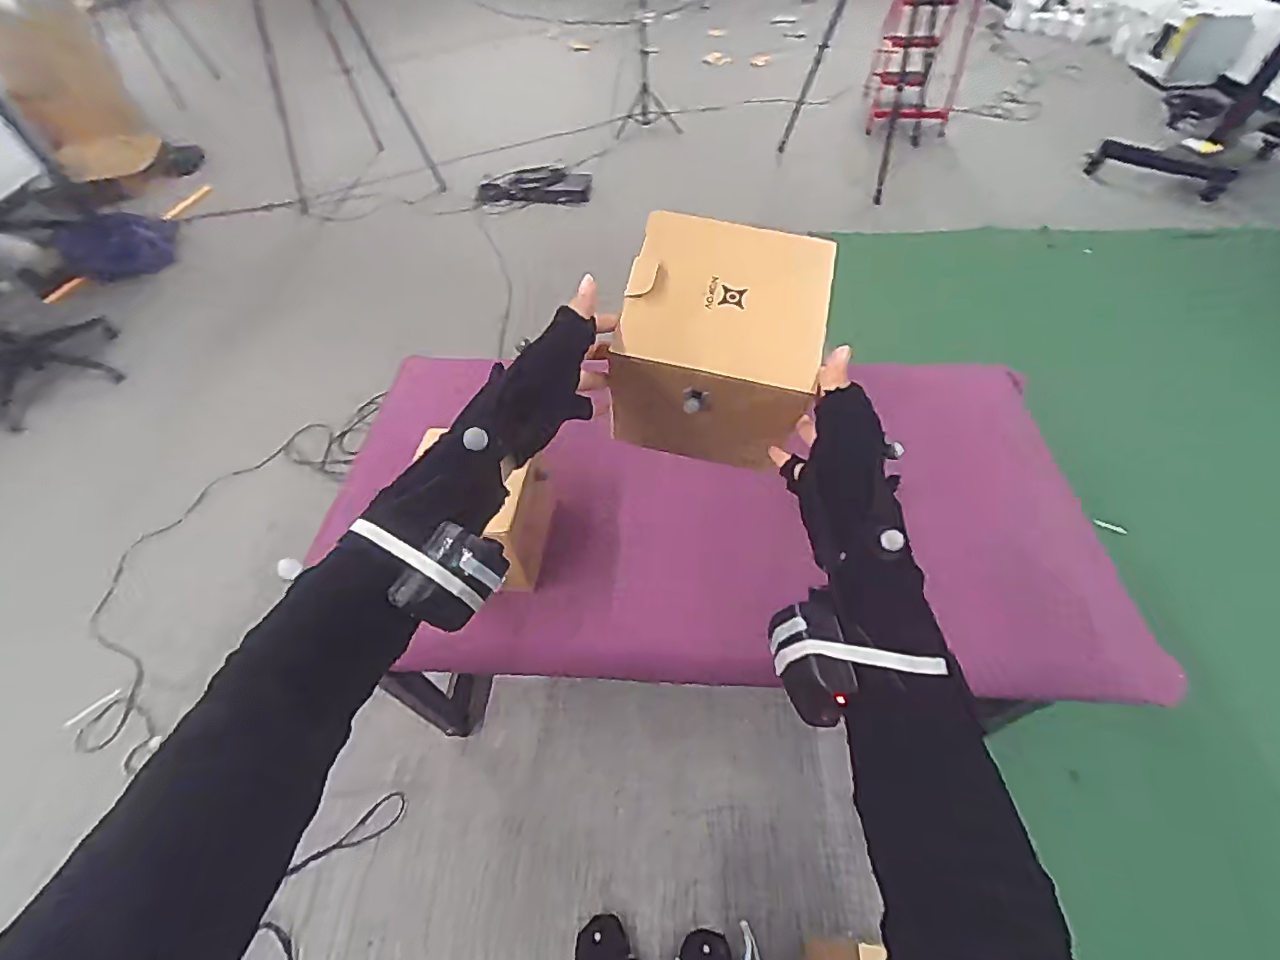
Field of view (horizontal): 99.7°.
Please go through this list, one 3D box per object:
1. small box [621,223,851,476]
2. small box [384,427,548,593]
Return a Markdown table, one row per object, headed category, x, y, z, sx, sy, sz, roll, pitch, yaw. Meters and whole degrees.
| category | x | y | z | sx | sy | sz | roll | pitch | yaw |
| --- | --- | --- | --- | --- | --- | --- | --- | --- | --- |
| small box | 0.087 | -0.118 | 0.545 | 0.179 | 0.176 | 0.168 | 14 | 69 | 5 |
| small box | -0.240 | 0.046 | 0.804 | 0.168 | 0.176 | 0.179 | 5 | 53 | 5 |
